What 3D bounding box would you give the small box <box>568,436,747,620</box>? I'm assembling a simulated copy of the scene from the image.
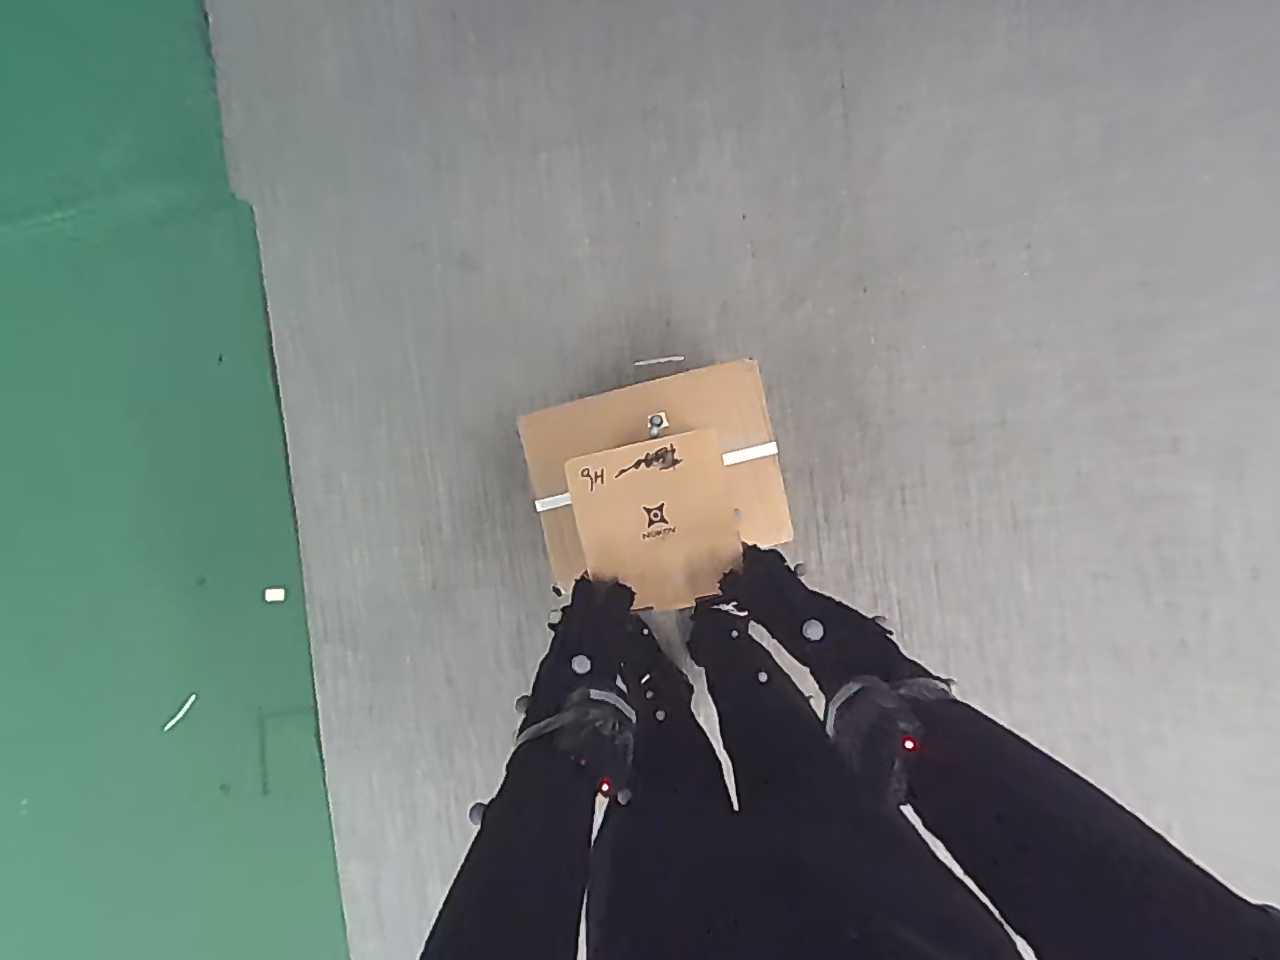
[{"bbox_3d":[0.025,0.048,0.655,0.168,0.176,0.179,-13,92,4],"label":"small box"}]
